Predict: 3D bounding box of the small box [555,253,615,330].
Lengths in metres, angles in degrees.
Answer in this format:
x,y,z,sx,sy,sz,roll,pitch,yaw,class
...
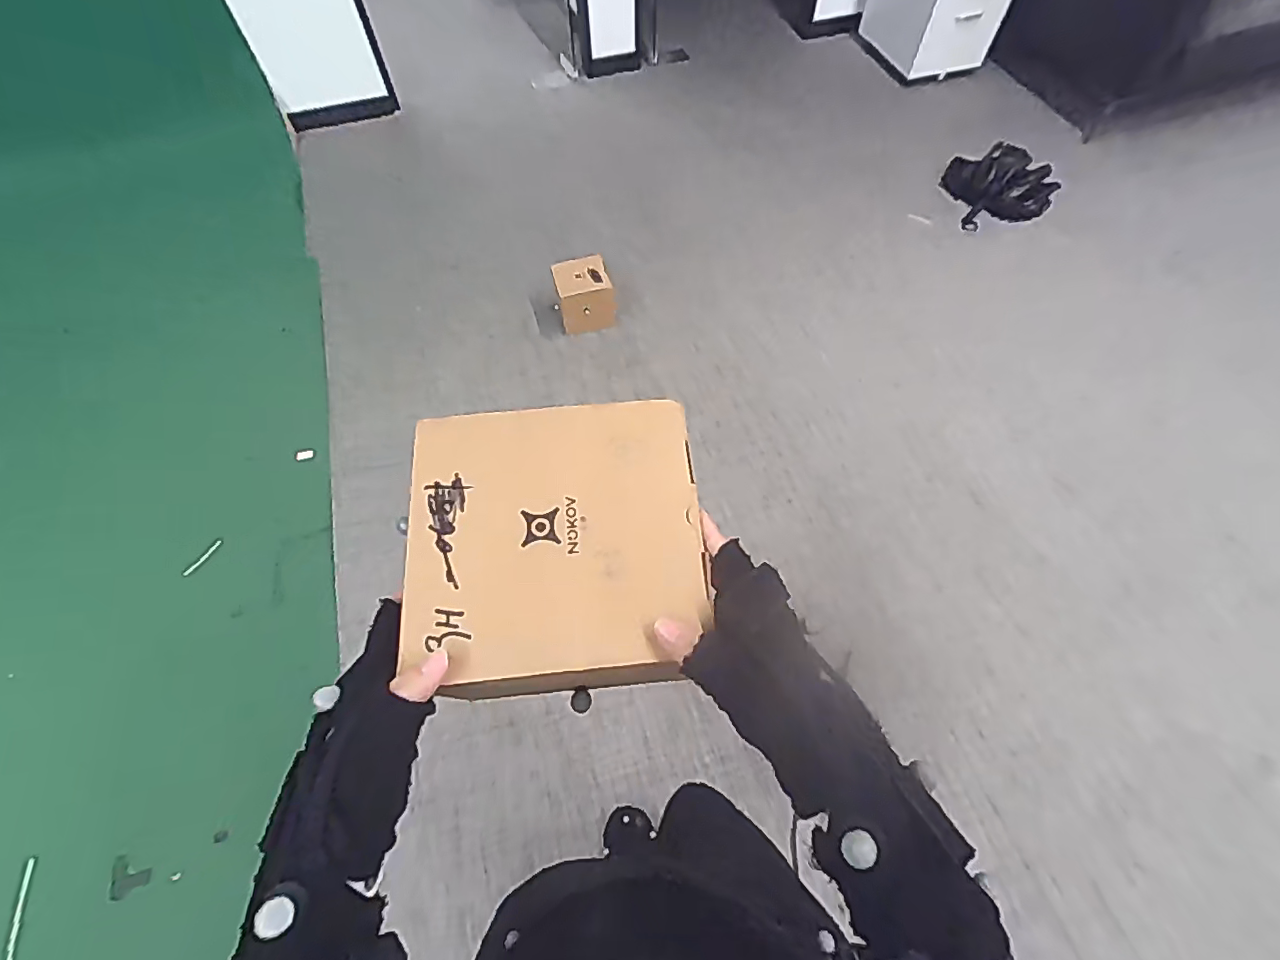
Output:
x,y,z,sx,sy,sz,roll,pitch,yaw,class
-0.183,-0.640,1.847,0.179,0.176,0.168,-12,60,-5,small box

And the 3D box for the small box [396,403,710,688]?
x,y,z,sx,sy,sz,roll,pitch,yaw,class
-0.056,0.059,0.403,0.179,0.176,0.168,-4,66,-4,small box
